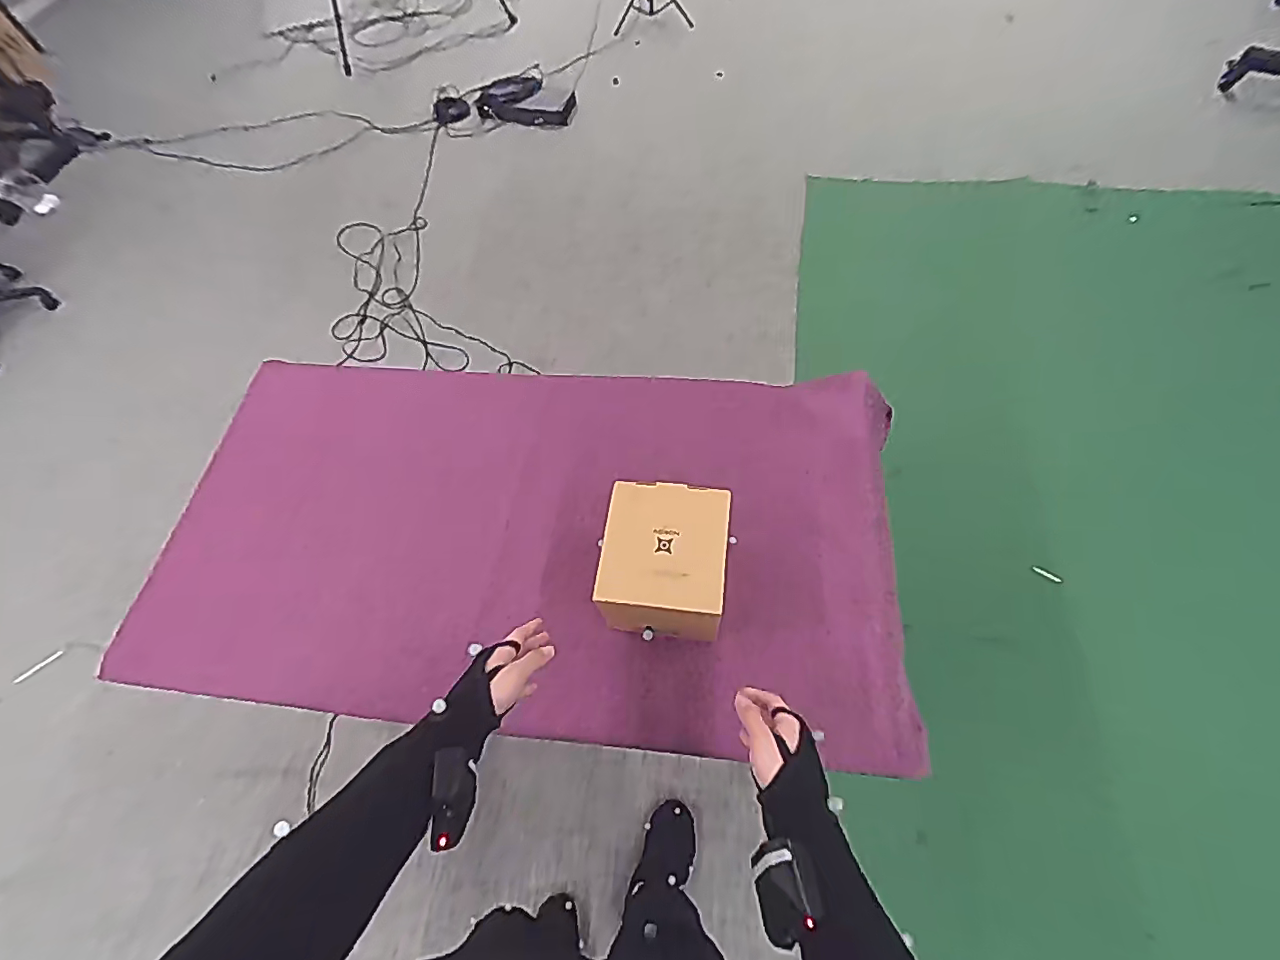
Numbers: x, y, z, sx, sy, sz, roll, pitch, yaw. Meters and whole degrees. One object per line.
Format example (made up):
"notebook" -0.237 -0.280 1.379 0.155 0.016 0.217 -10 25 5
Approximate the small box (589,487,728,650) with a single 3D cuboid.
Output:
"small box" 0.033 0.132 0.784 0.168 0.176 0.179 5 62 9
